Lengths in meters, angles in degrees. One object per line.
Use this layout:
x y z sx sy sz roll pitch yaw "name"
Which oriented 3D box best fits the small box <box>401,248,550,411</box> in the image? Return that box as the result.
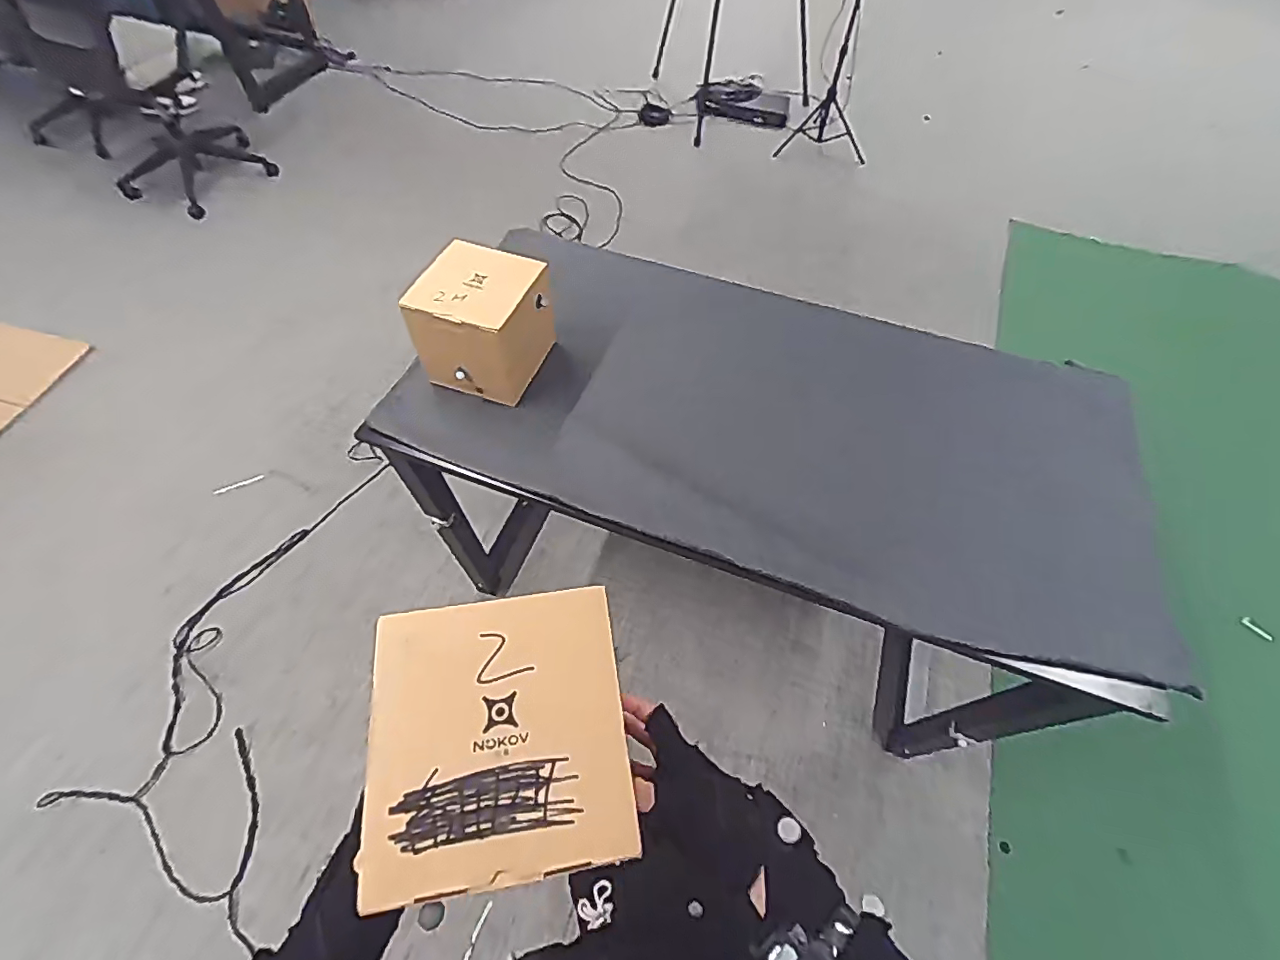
-0.257 -0.247 0.897 0.168 0.176 0.179 17 57 8 "small box"
